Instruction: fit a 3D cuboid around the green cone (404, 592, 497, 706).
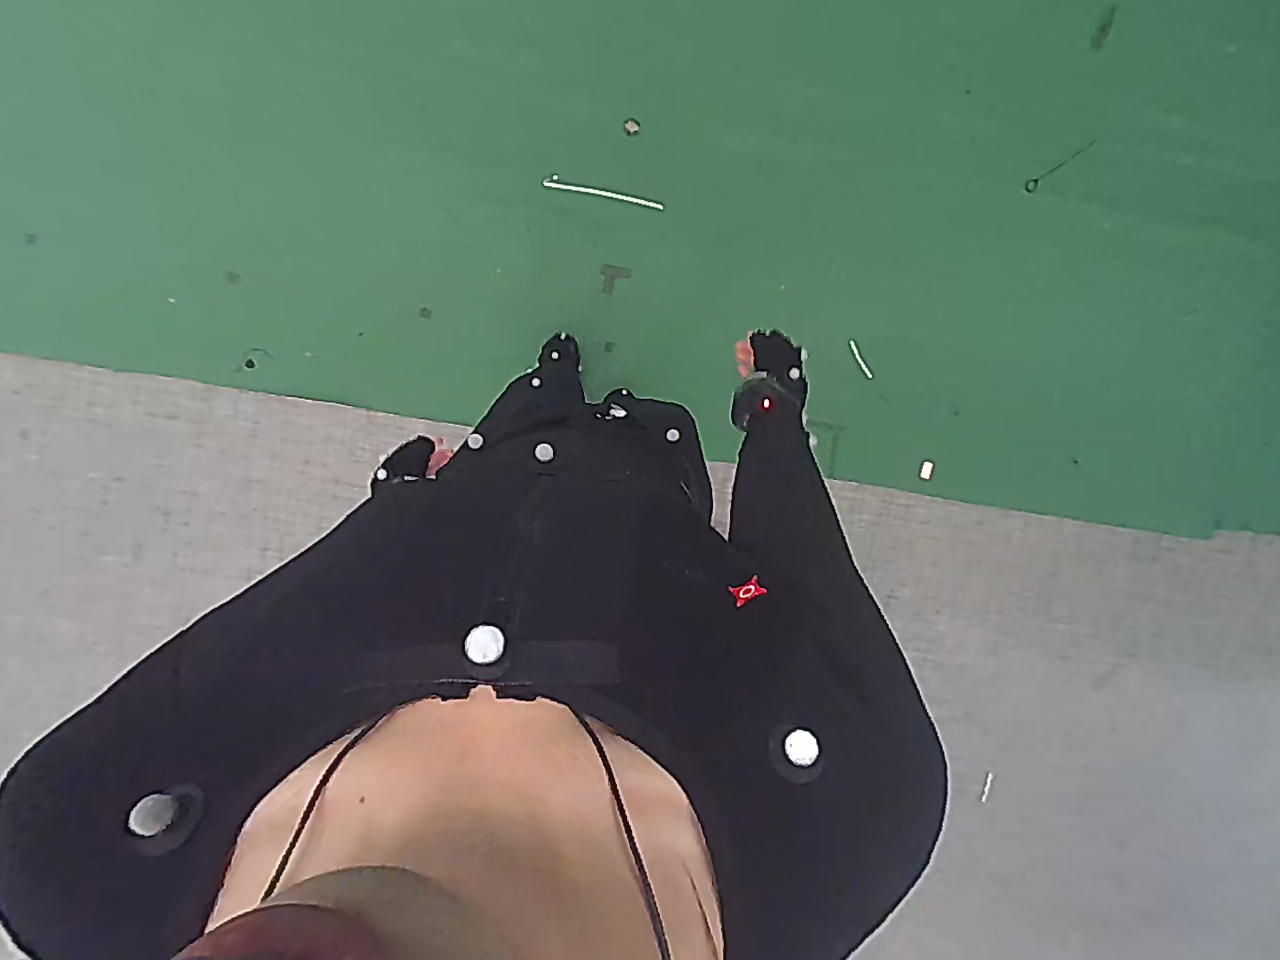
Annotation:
[{"bbox_3d":[-0.513,0.451,1.372,0.200,0.368,0.202,11,99,-4],"label":"green cone"}]
